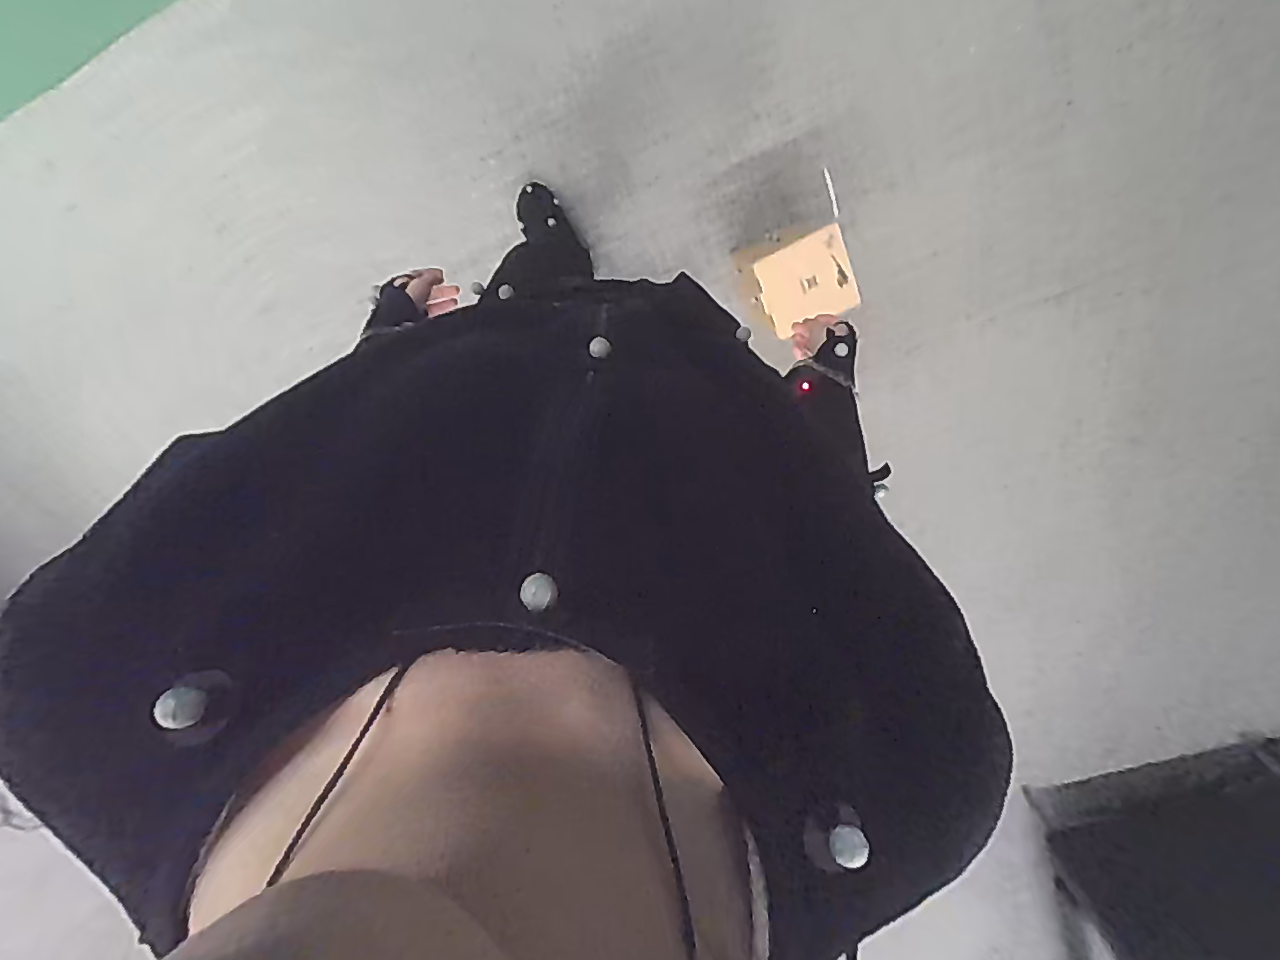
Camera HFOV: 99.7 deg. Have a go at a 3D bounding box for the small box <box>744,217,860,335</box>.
[{"bbox_3d":[0.325,-0.424,1.120,0.179,0.176,0.168,-23,114,11],"label":"small box"}]
